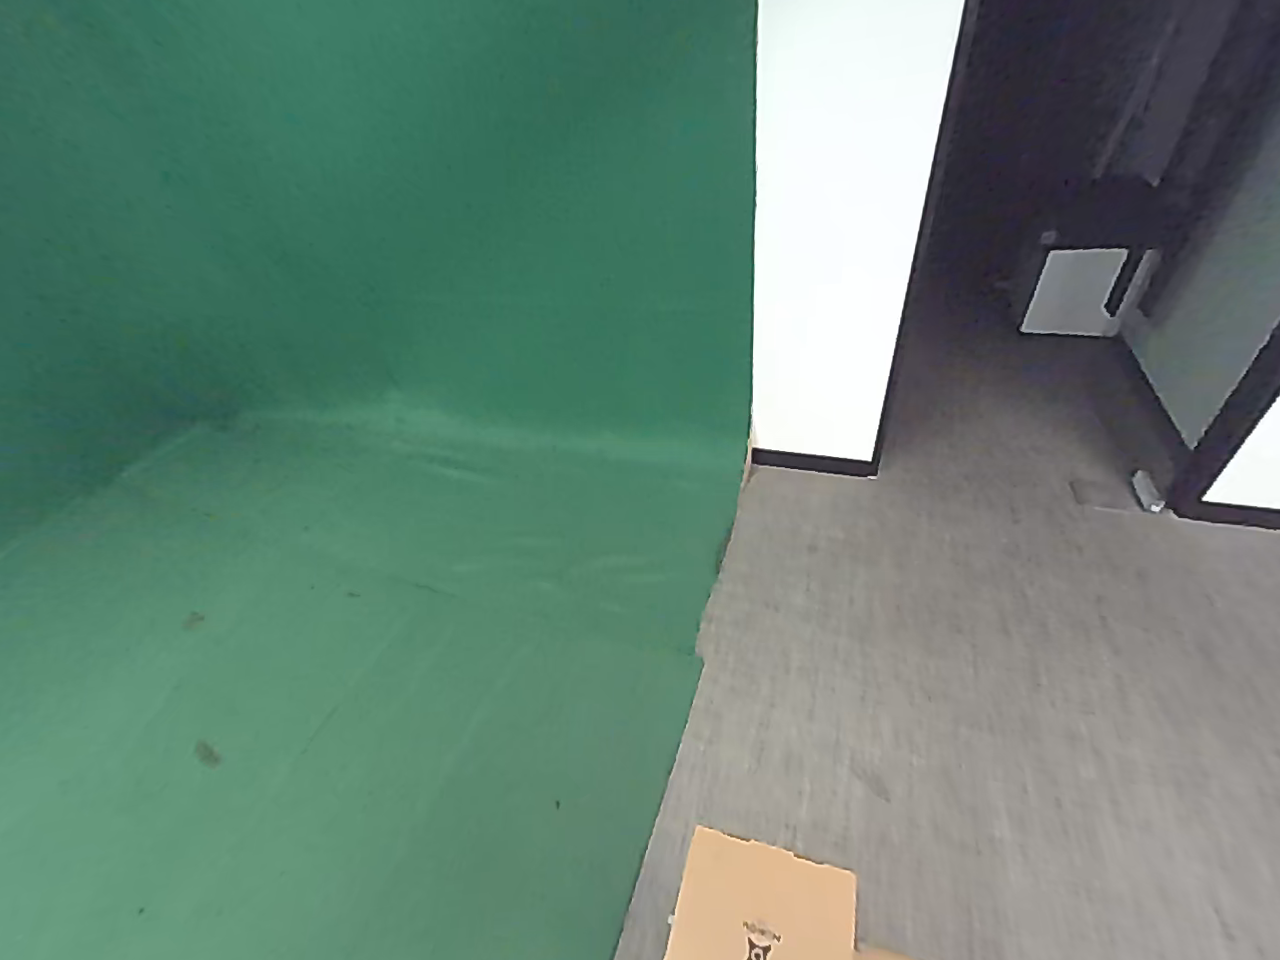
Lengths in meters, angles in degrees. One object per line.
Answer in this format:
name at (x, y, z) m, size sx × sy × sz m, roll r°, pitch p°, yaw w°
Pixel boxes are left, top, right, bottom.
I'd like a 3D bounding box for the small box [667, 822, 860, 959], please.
small box at (0.127, 0.495, 0.553) m, size 0.168 × 0.176 × 0.179 m, roll 4°, pitch 43°, yaw 22°
